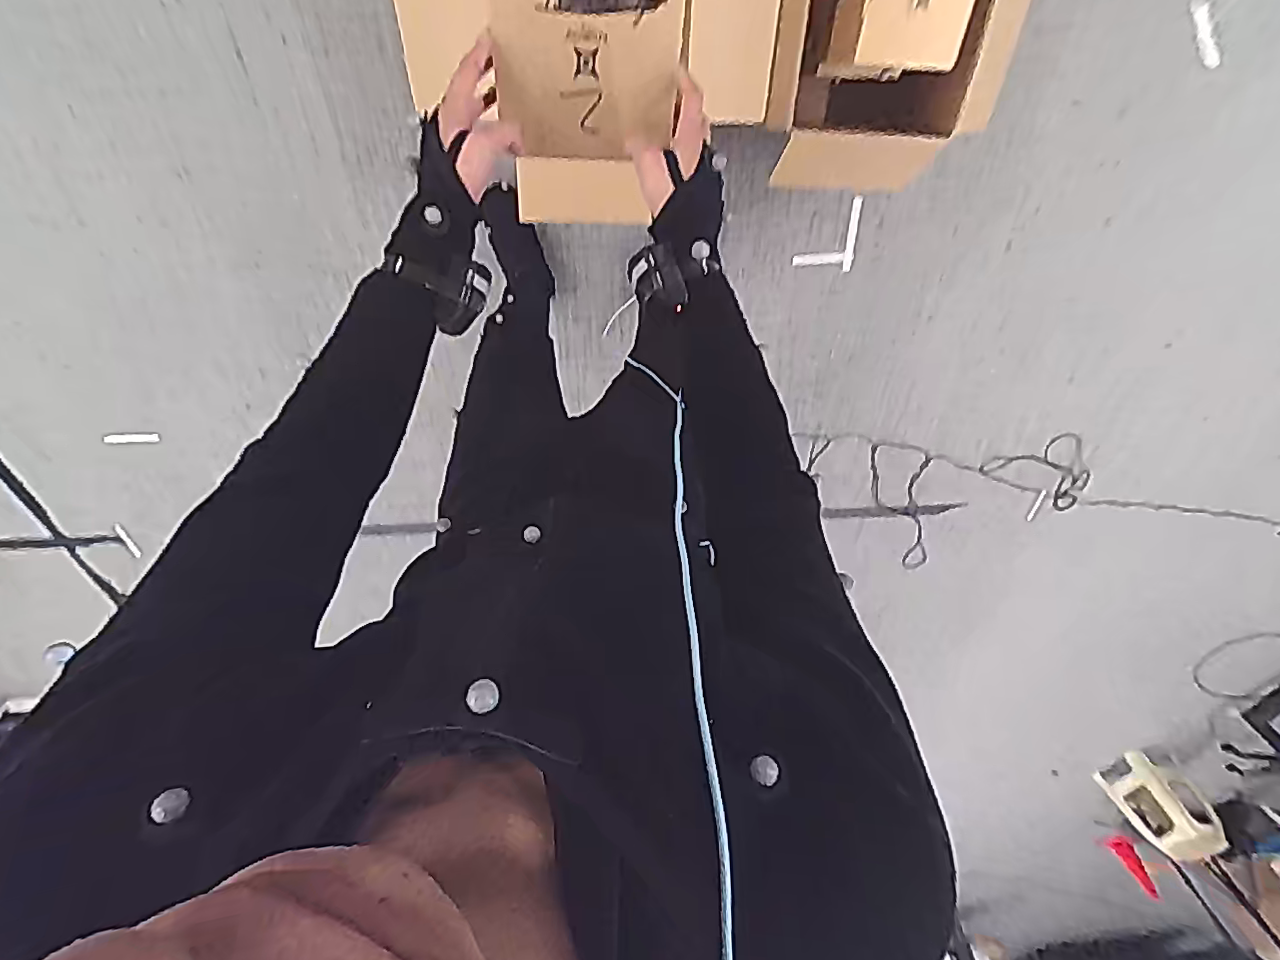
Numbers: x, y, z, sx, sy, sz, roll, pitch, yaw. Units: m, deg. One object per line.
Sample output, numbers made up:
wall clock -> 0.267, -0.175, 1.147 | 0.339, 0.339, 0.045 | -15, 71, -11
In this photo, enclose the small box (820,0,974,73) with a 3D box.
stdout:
small box -> 0.425, -0.786, 0.895 | 0.179, 0.176, 0.168 | -1, 129, -4
